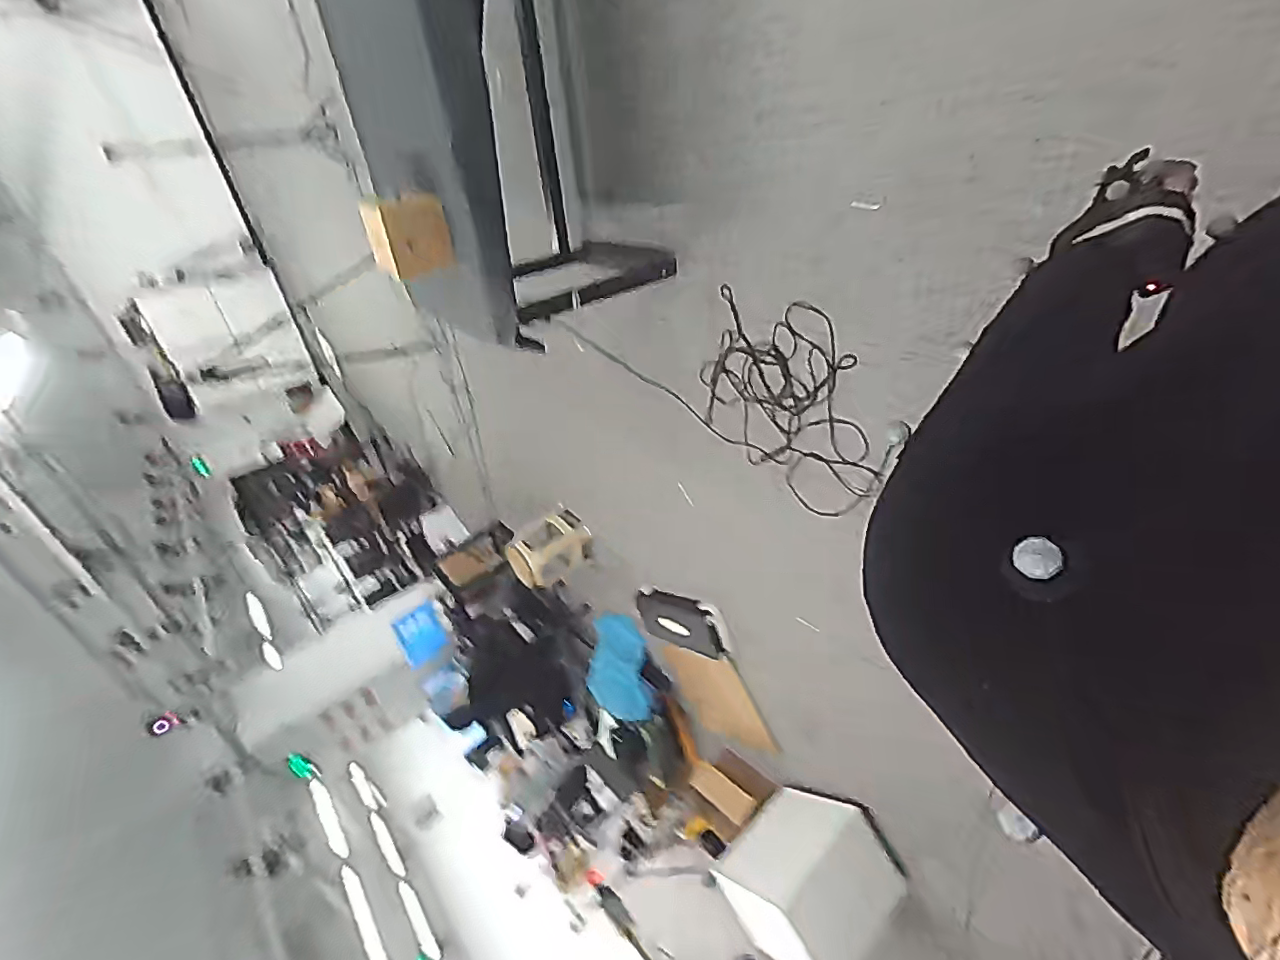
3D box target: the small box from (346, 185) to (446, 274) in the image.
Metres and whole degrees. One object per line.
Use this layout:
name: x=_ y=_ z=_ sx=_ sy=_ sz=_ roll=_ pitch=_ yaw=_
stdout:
small box: x=-0.647 y=-0.678 z=1.449 sx=0.168 sy=0.176 sz=0.179 roll=35 pitch=141 yaw=36
